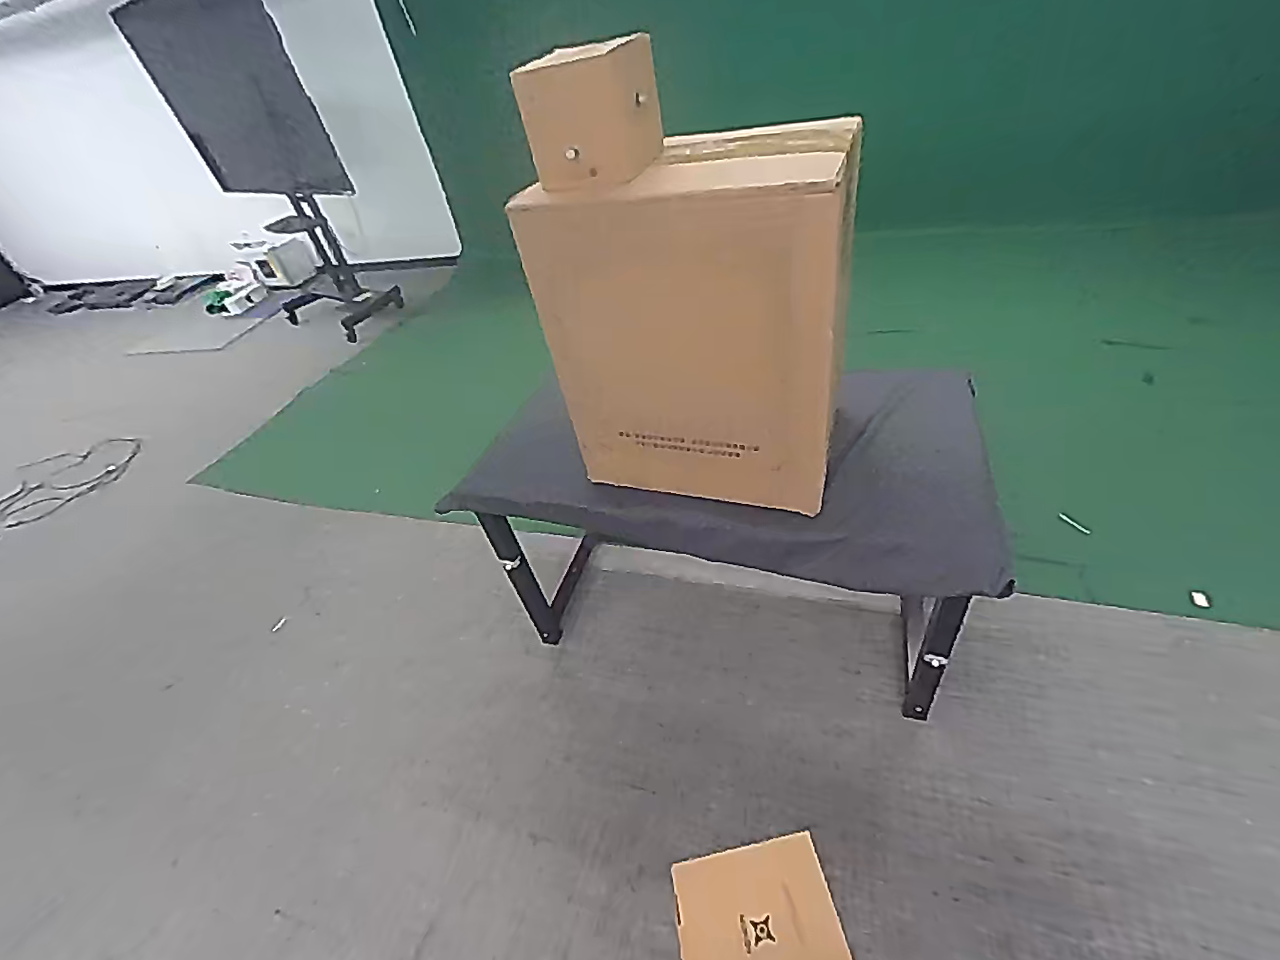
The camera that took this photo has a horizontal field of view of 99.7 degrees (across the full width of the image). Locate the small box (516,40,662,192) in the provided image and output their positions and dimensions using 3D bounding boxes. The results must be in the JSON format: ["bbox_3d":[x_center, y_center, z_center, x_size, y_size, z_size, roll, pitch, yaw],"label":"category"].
[{"bbox_3d":[-0.071,-0.595,0.893,0.168,0.176,0.179,7,47,23],"label":"small box"}]

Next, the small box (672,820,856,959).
[{"bbox_3d":[0.150,0.545,0.642,0.179,0.176,0.168,-15,36,2],"label":"small box"}]
